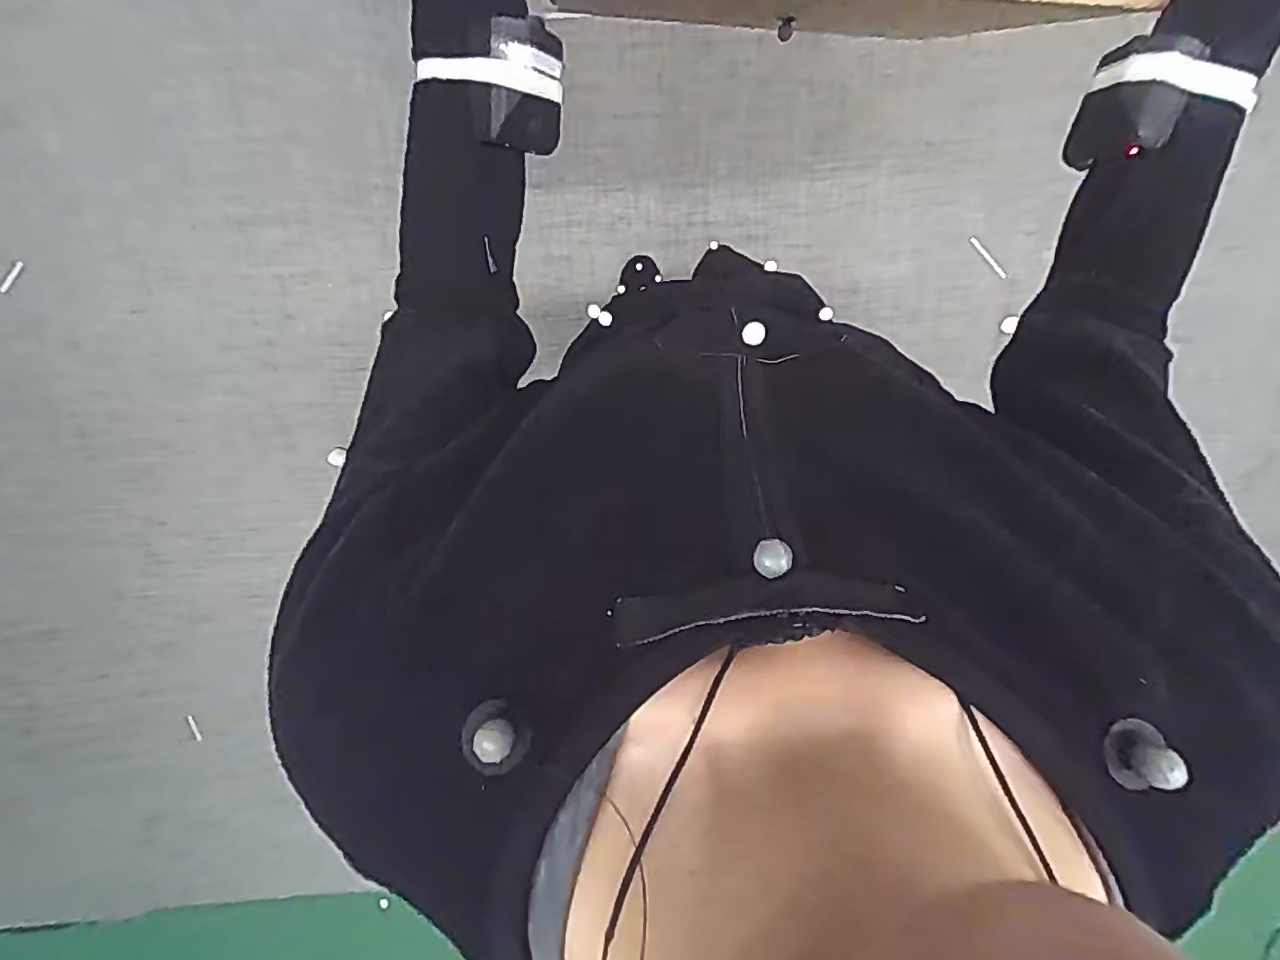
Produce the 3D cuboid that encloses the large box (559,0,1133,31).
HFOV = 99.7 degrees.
[{"bbox_3d":[0.133,-0.523,0.375,0.408,0.320,0.320,-1,125,-4],"label":"large box"}]
